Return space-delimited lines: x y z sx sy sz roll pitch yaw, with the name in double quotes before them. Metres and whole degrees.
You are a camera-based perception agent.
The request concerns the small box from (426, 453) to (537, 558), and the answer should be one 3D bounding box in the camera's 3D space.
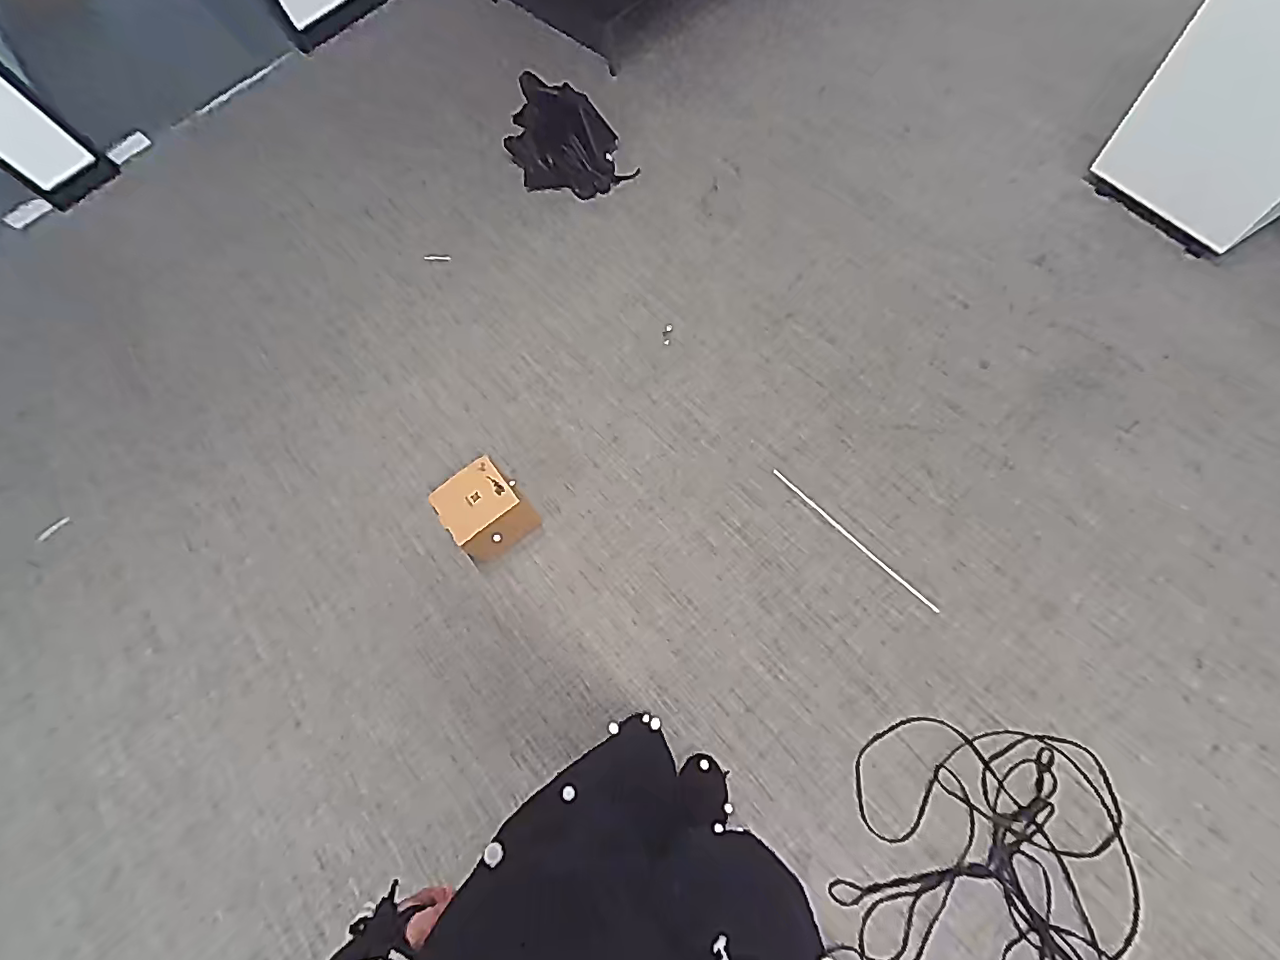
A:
"small box" -0.387 0.070 1.347 0.179 0.176 0.168 -38 68 -7
